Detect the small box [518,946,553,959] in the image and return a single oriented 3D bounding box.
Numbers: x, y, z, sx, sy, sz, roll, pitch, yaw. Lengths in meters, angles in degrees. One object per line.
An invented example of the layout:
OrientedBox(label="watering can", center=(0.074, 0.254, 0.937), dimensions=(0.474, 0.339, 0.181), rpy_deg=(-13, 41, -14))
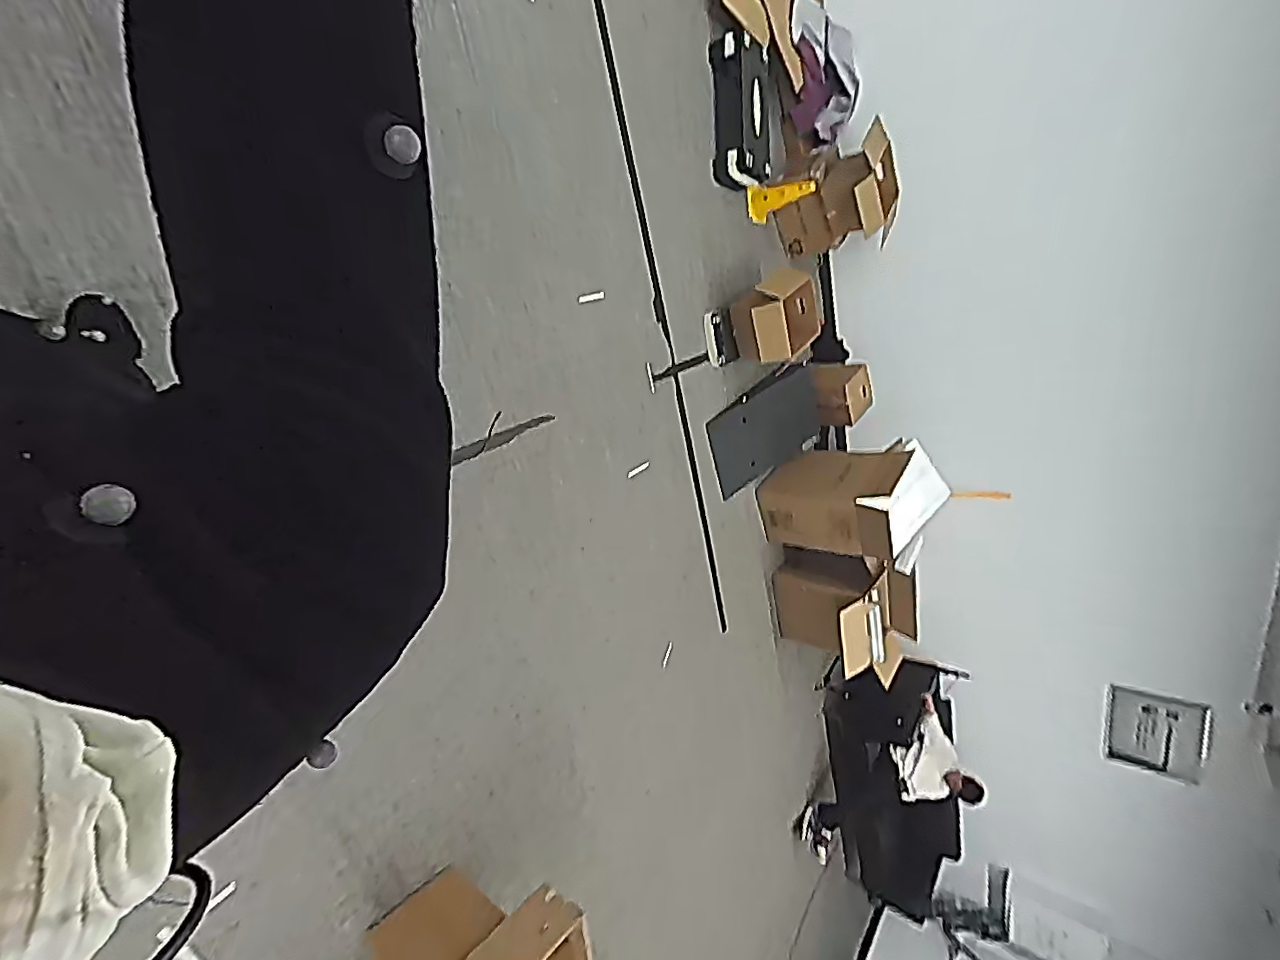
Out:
OrientedBox(label="small box", center=(-0.315, 1.541, 1.596), dimensions=(0.168, 0.176, 0.179), rpy_deg=(-23, 112, -46))
